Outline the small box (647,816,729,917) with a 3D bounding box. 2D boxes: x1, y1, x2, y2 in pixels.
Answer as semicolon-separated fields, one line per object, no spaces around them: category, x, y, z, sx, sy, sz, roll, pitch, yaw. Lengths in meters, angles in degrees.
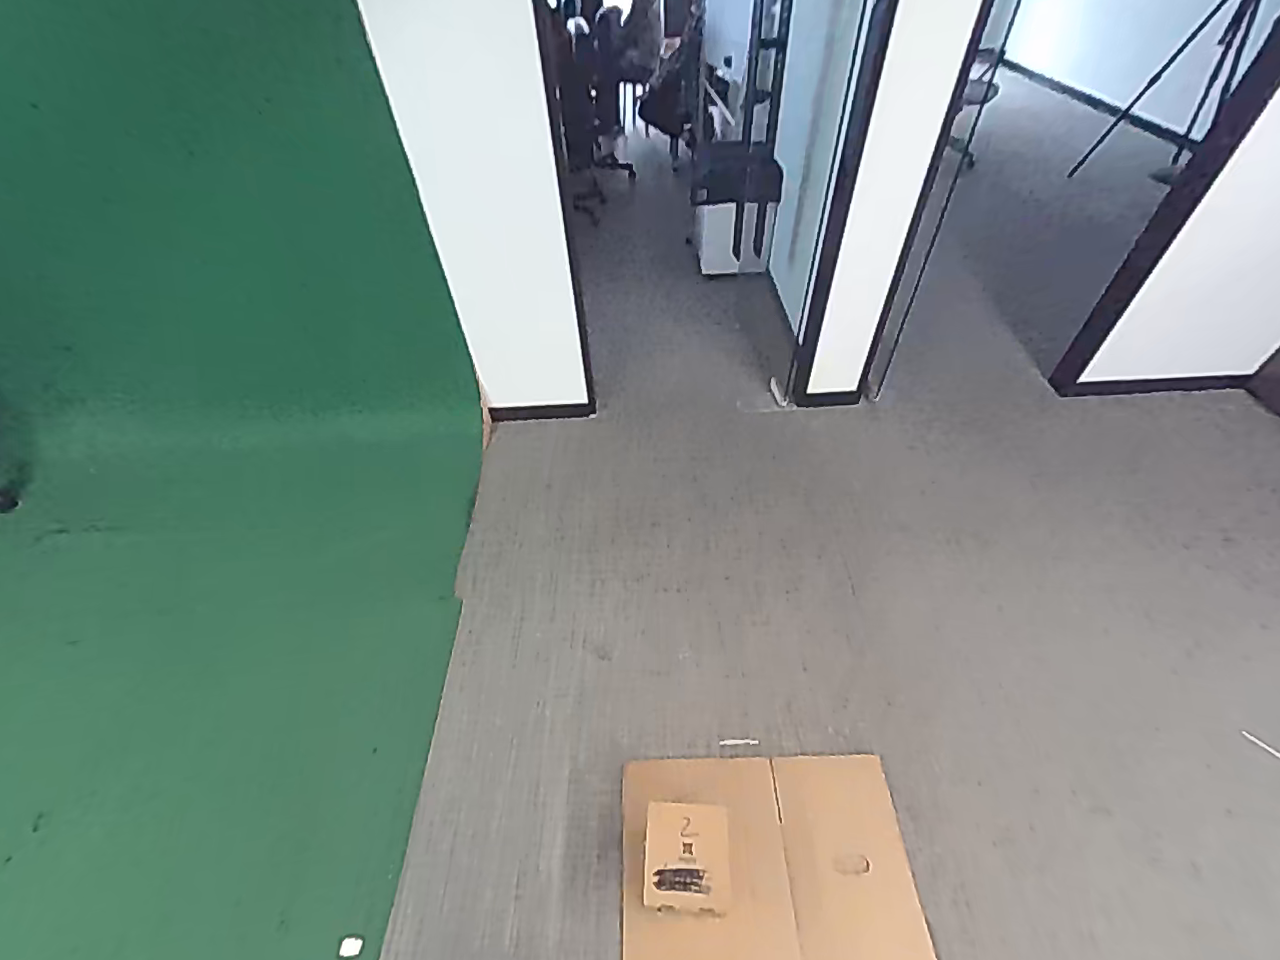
small box;0.111;0.897;1.251;0.179;0.176;0.168;2;48;4
